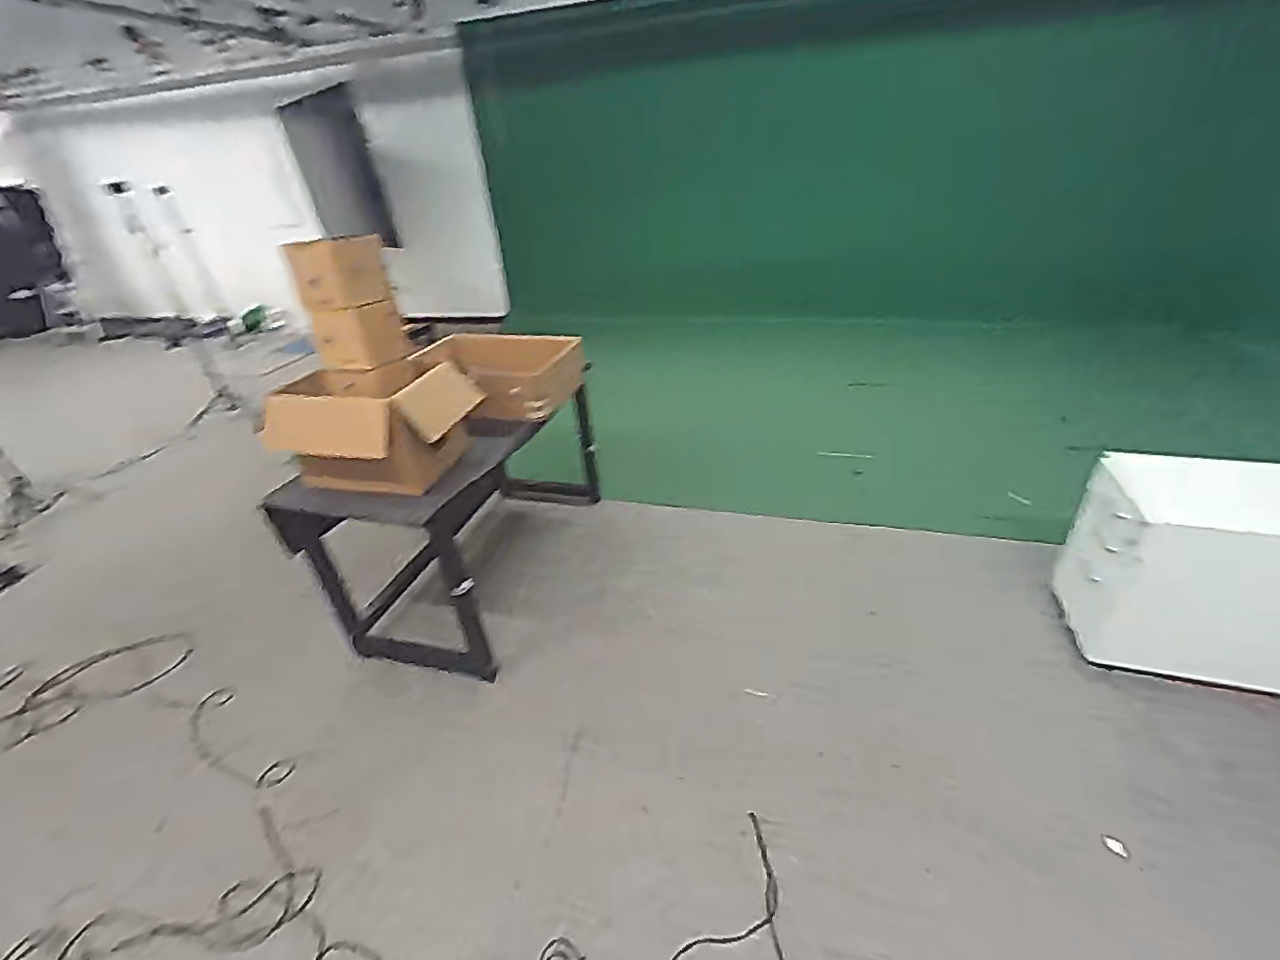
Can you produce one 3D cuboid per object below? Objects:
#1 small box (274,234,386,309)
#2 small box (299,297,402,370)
[{"bbox_3d":[-0.822,-0.559,1.456,0.168,0.176,0.179,5,29,17],"label":"small box"},{"bbox_3d":[-0.807,-0.413,1.530,0.168,0.176,0.179,4,28,16],"label":"small box"}]
